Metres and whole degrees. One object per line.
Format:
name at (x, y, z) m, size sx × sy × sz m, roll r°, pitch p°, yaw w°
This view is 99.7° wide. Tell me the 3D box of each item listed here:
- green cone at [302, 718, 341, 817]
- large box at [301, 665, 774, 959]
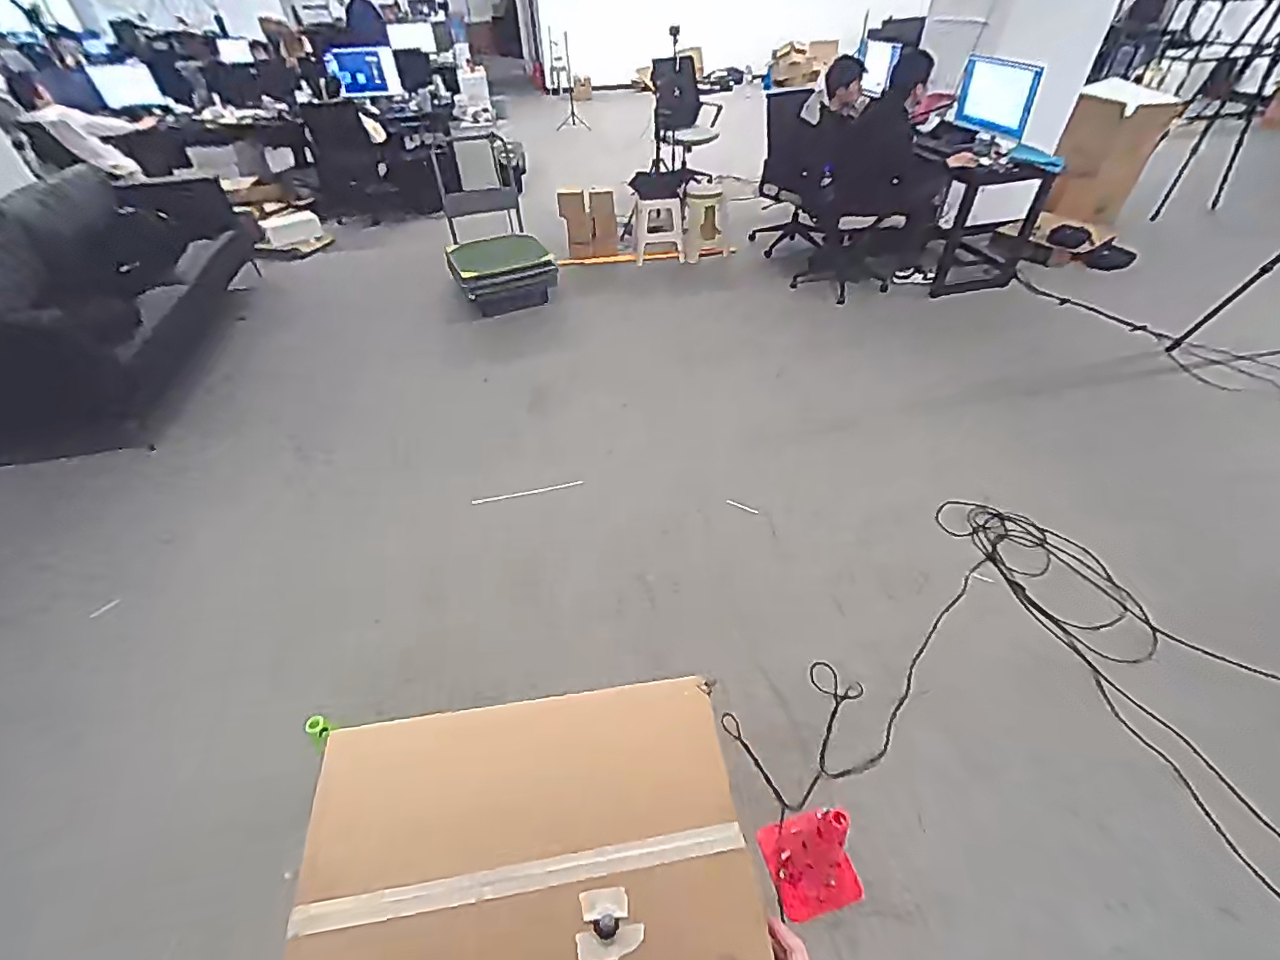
green cone at (-0.771, 0.701, 1.393) m, size 0.200 × 0.368 × 0.202 m, roll -6°, pitch 45°, yaw -4°
large box at (-0.105, 0.450, 0.621) m, size 0.408 × 0.320 × 0.320 m, roll -6°, pitch 51°, yaw -8°
